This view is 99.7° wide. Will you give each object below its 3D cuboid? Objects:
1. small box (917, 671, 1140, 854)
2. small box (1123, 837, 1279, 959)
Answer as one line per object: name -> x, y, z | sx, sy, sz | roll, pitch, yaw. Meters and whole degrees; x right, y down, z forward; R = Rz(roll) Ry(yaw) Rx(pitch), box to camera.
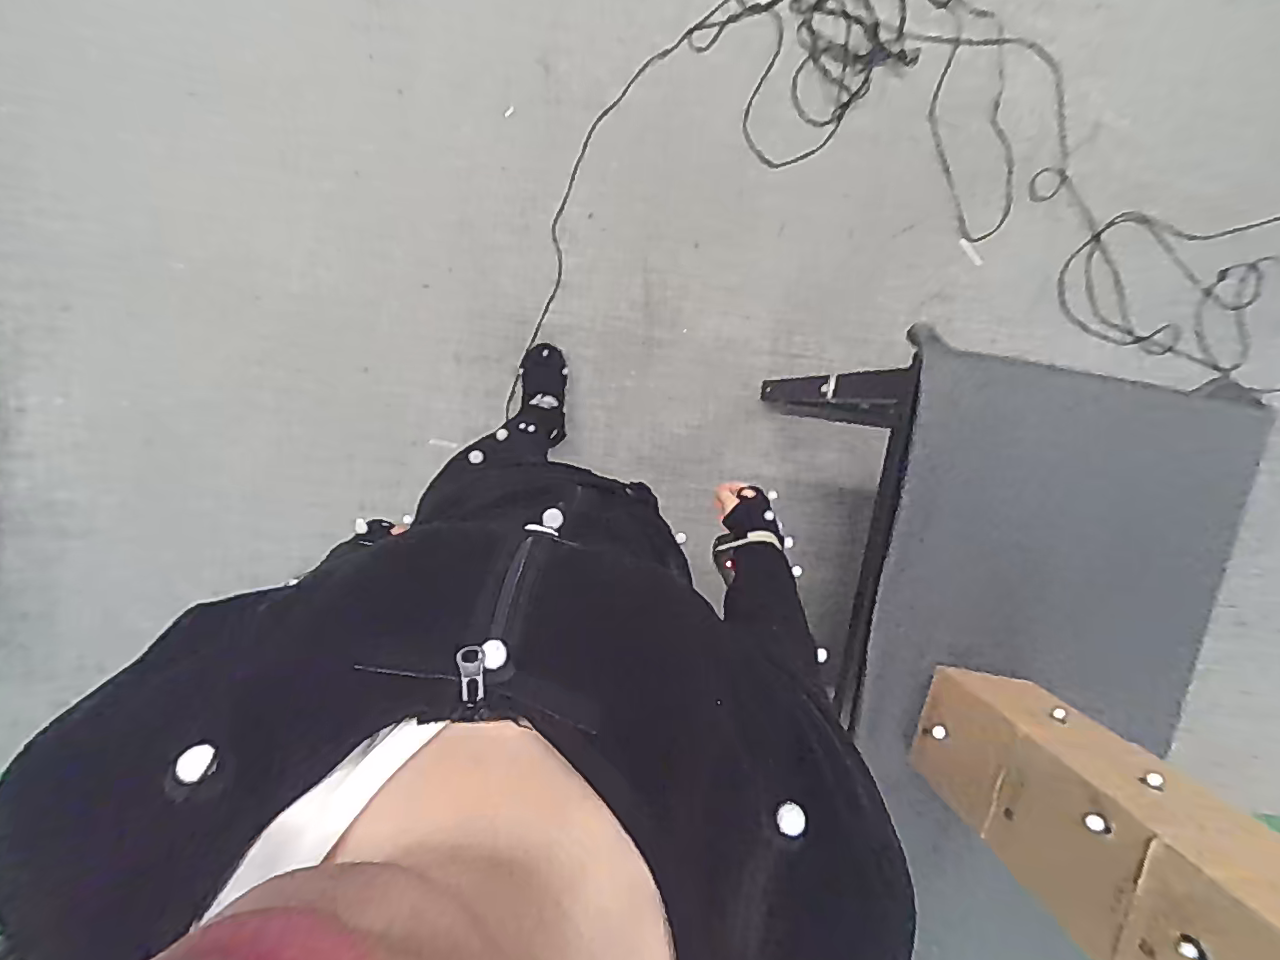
small box -> 0.550, 0.399, 0.788 | 0.179, 0.176, 0.168 | 12, 97, -8
small box -> 0.590, 0.446, 0.467 | 0.179, 0.176, 0.168 | 7, 98, -8
